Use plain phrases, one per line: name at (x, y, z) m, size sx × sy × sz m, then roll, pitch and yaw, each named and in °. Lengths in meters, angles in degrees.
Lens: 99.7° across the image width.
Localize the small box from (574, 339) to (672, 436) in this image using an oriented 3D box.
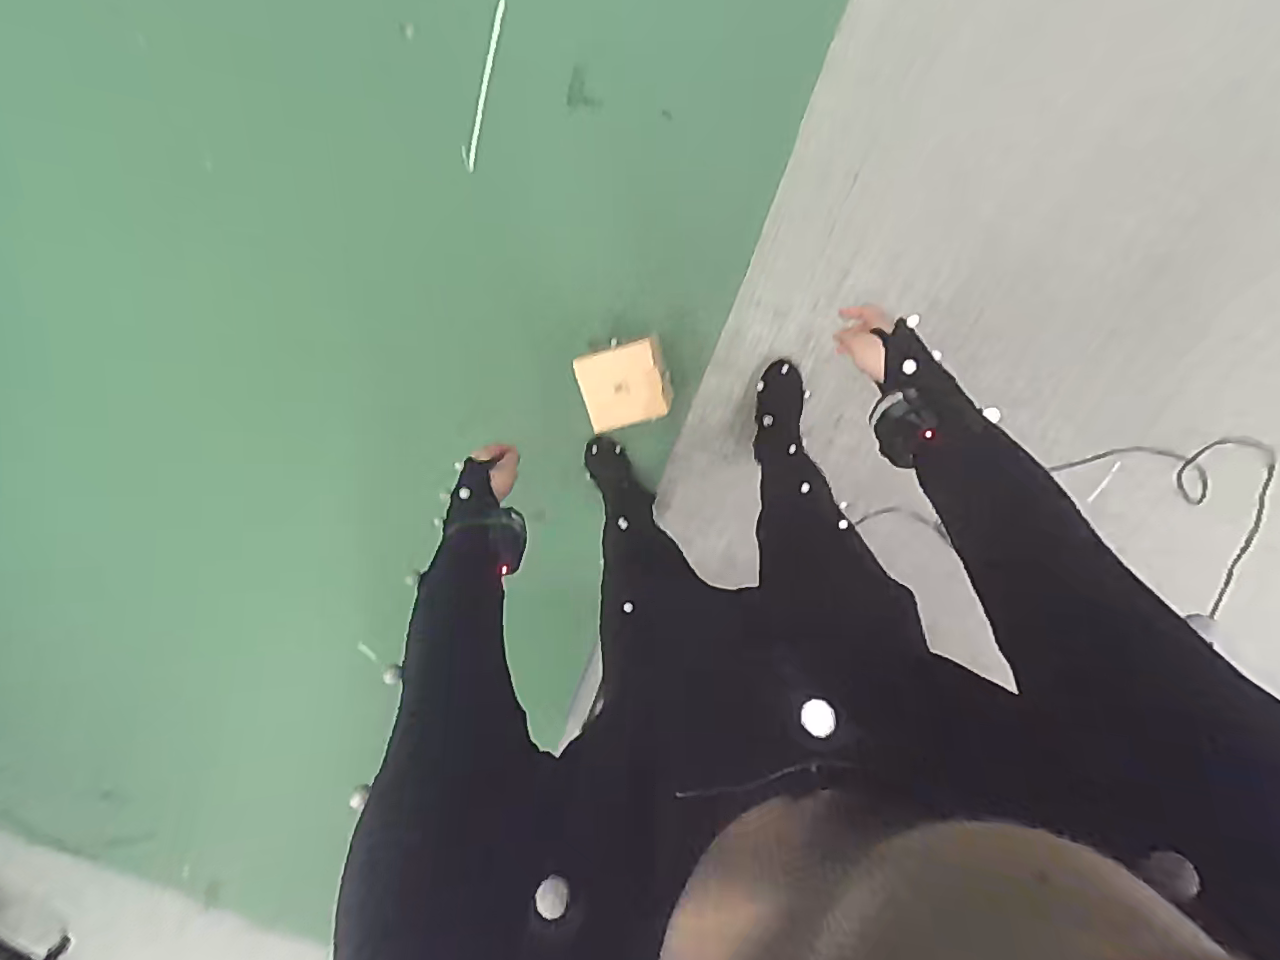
small box at (-0.031, -0.218, 1.253) m, size 0.179 × 0.176 × 0.168 m, roll -14°, pitch 108°, yaw 11°
